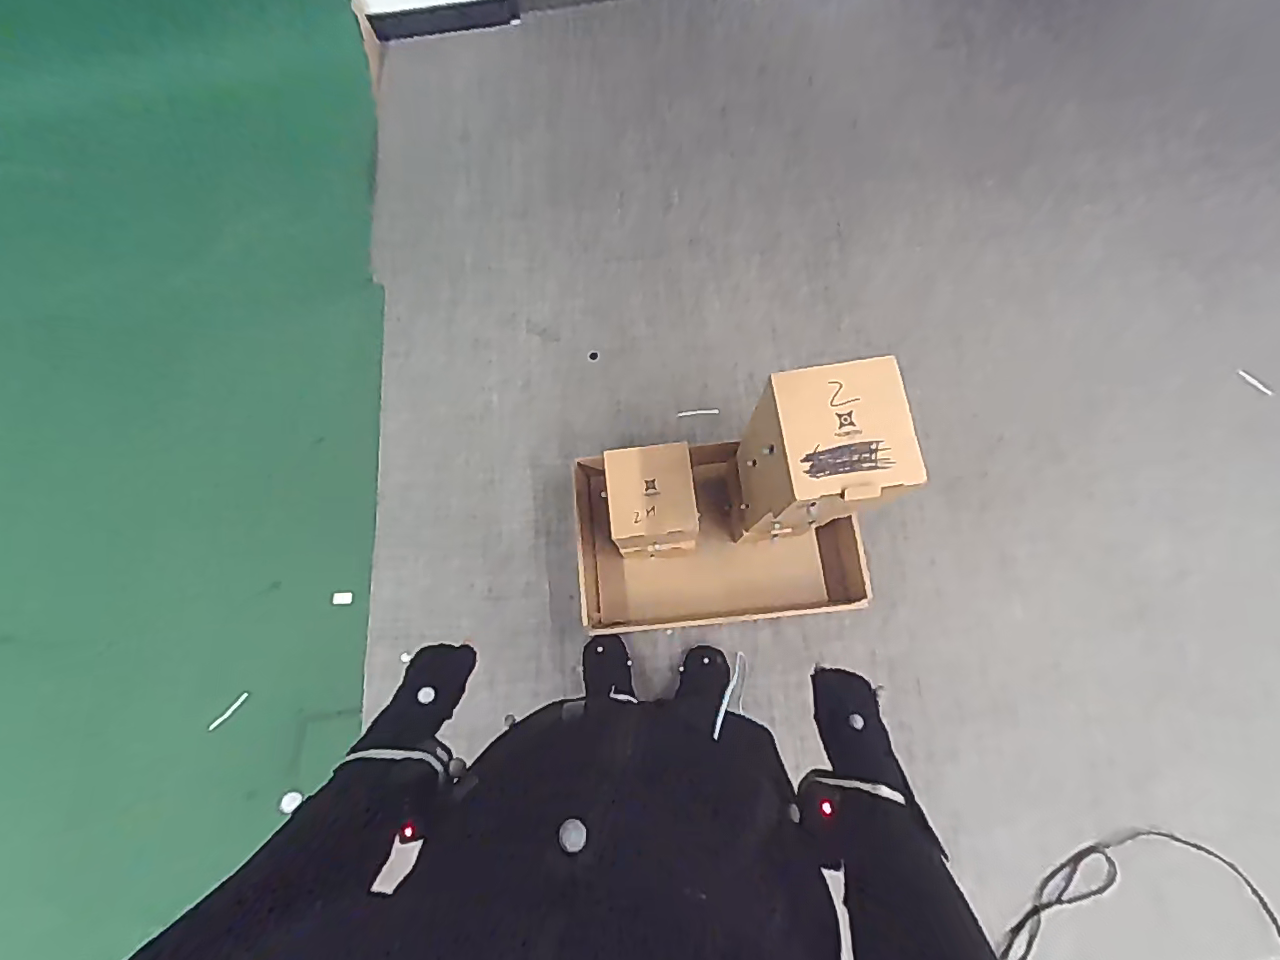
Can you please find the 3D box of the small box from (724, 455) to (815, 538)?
[{"bbox_3d":[0.293,0.034,1.250,0.168,0.176,0.179,-11,77,3],"label":"small box"}]

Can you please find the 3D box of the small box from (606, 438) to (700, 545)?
[{"bbox_3d":[0.025,0.029,1.098,0.168,0.176,0.179,-7,77,1],"label":"small box"}]

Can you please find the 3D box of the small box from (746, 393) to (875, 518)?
[{"bbox_3d":[0.282,-0.032,0.929,0.168,0.176,0.179,-5,77,2],"label":"small box"}]

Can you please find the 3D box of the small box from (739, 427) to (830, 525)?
[{"bbox_3d":[0.293,-0.008,1.073,0.168,0.176,0.179,-6,77,3],"label":"small box"}]
